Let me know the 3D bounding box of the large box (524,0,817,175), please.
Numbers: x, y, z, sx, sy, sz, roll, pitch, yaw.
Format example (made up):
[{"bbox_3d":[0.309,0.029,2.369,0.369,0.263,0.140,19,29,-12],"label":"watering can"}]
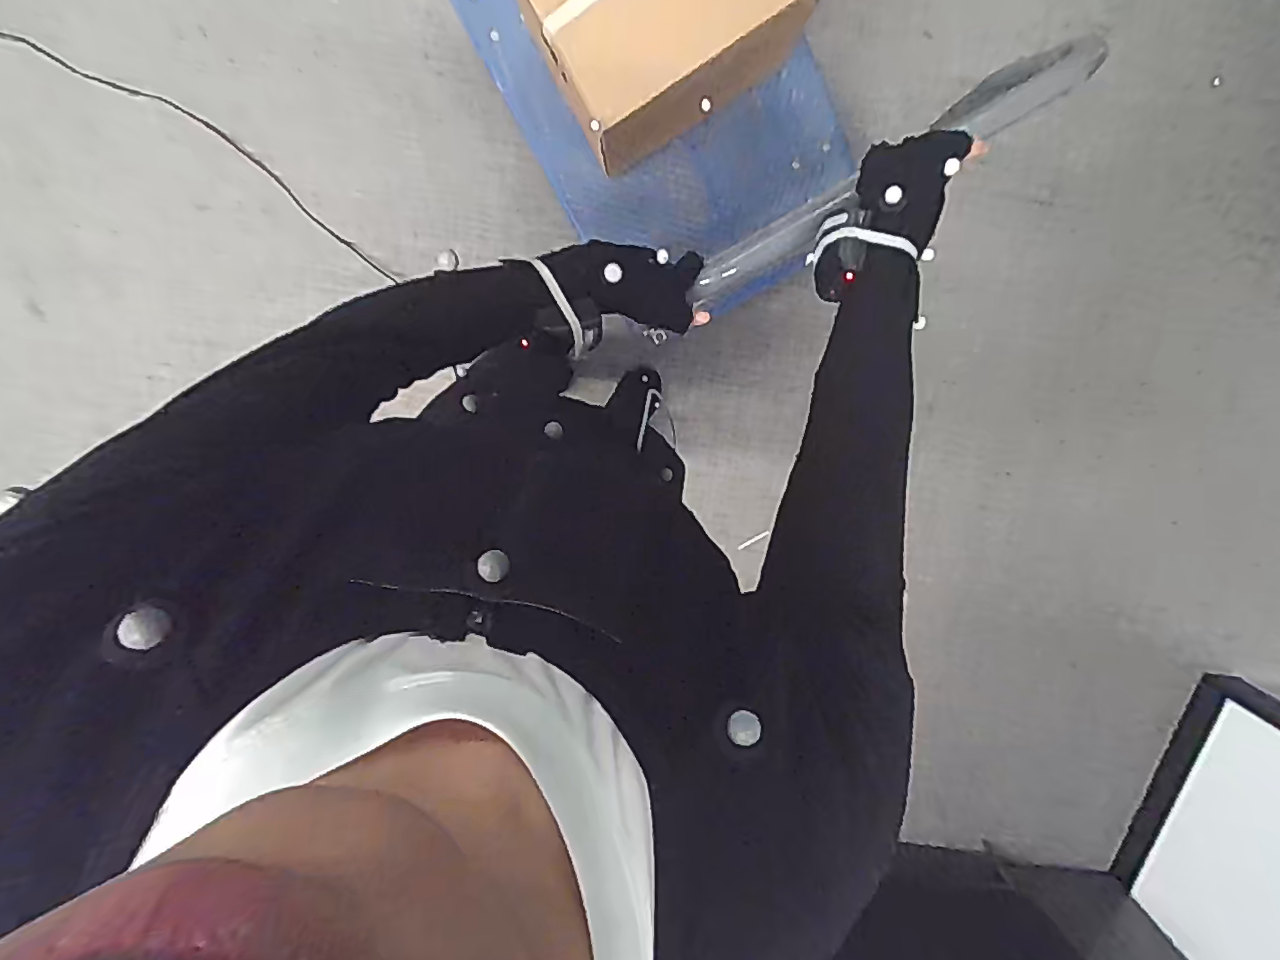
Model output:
[{"bbox_3d":[0.042,-0.816,0.933,0.408,0.320,0.320,-30,104,9],"label":"large box"}]
